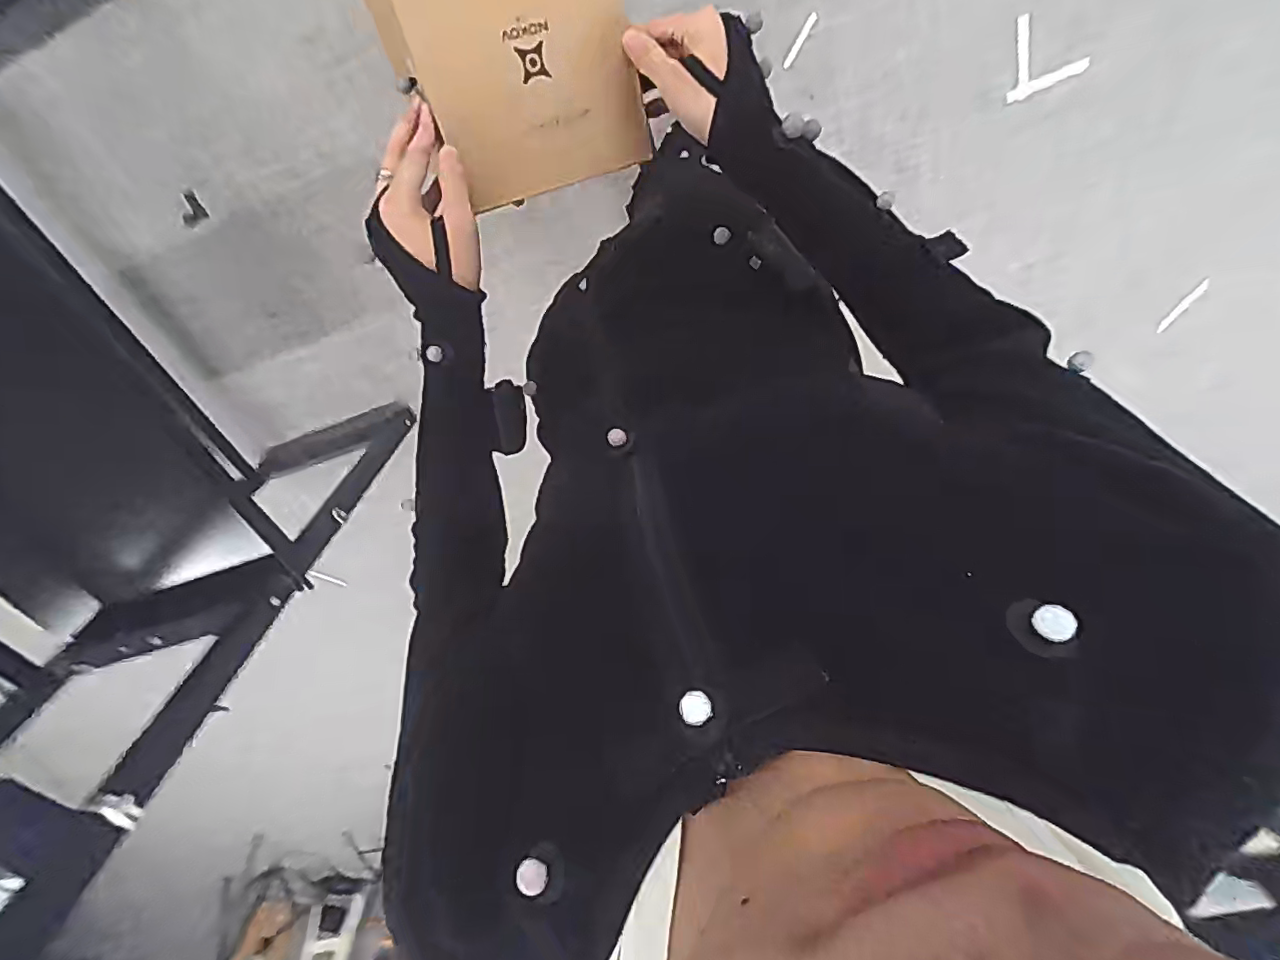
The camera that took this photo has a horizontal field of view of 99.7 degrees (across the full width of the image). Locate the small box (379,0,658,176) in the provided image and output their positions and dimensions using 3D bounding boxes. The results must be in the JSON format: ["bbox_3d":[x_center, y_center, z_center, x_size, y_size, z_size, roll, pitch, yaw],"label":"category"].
[{"bbox_3d":[-0.107,-0.363,0.441,0.168,0.176,0.179,-24,126,-14],"label":"small box"}]
